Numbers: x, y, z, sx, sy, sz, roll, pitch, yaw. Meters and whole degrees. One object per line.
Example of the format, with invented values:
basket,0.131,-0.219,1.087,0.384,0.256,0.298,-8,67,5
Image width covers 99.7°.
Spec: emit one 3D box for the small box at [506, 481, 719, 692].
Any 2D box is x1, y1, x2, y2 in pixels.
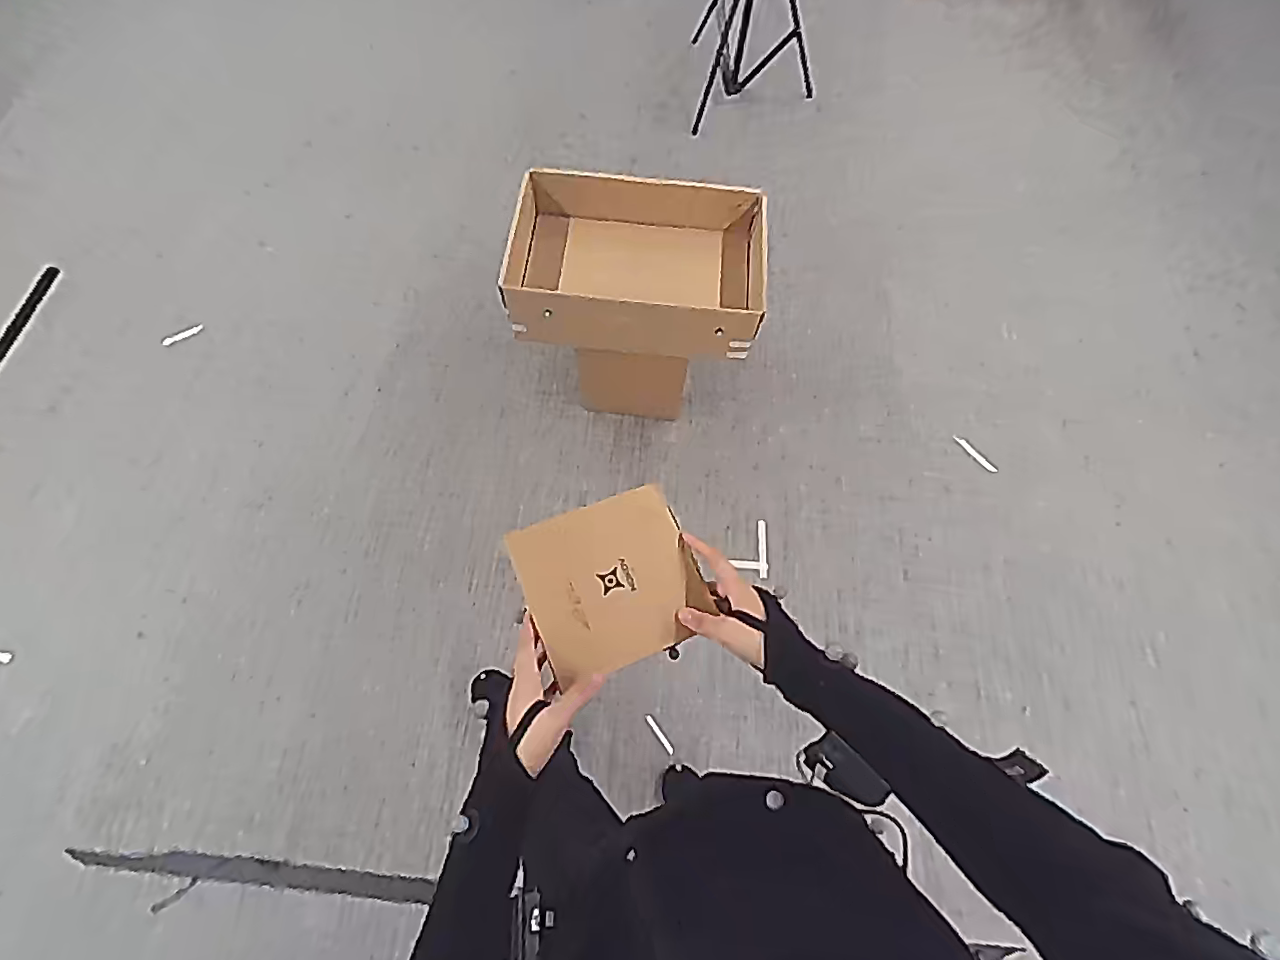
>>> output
small box,-0.041,0.125,0.615,0.179,0.176,0.168,-19,73,-16
